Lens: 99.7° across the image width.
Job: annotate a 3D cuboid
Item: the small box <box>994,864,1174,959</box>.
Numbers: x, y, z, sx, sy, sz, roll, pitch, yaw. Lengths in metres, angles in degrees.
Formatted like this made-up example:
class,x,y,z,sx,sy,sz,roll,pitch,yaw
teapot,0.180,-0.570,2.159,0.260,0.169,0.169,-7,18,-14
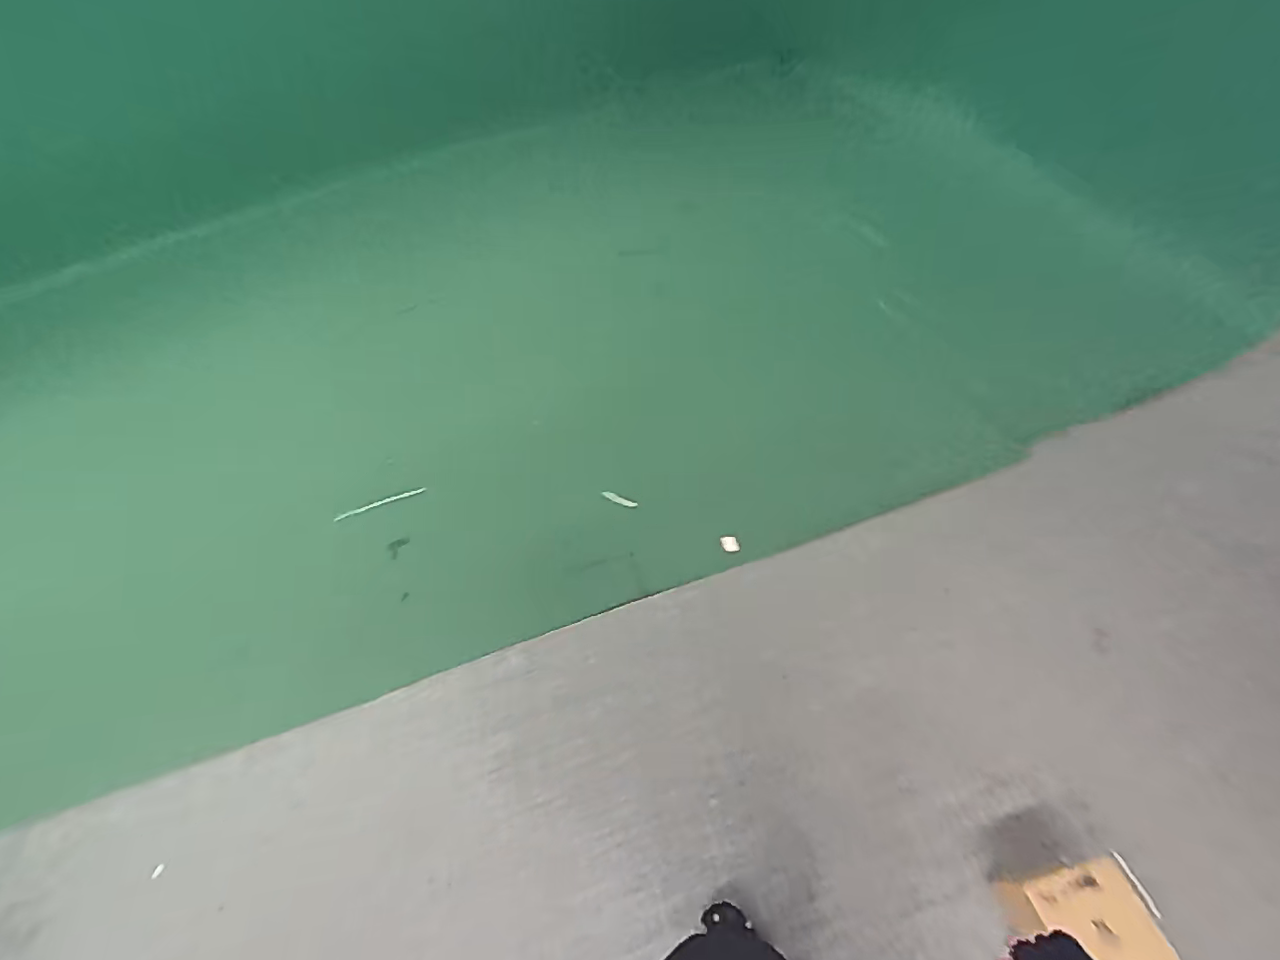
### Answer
class,x,y,z,sx,sy,sz,roll,pitch,yaw
small box,0.766,0.791,0.936,0.168,0.176,0.179,-17,54,-1
